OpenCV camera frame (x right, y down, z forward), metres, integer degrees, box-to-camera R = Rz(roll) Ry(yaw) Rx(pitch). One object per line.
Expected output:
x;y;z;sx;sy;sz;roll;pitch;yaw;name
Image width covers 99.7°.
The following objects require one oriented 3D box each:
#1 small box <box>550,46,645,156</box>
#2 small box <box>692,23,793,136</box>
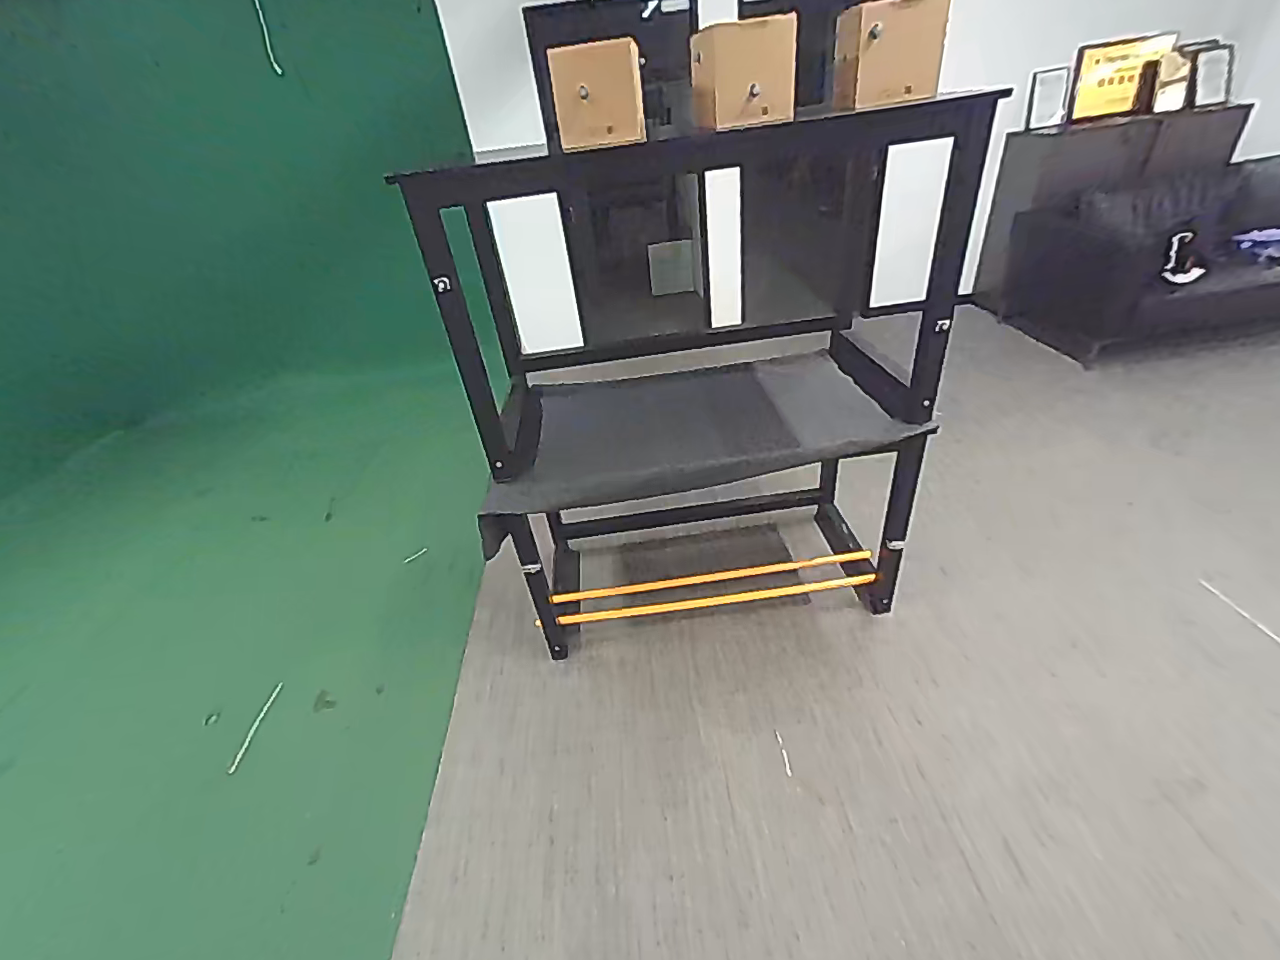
-0.081;-0.800;1.156;0.168;0.176;0.179;-4;33;7;small box
0.210;-0.833;1.140;0.168;0.176;0.179;-11;34;-4;small box
